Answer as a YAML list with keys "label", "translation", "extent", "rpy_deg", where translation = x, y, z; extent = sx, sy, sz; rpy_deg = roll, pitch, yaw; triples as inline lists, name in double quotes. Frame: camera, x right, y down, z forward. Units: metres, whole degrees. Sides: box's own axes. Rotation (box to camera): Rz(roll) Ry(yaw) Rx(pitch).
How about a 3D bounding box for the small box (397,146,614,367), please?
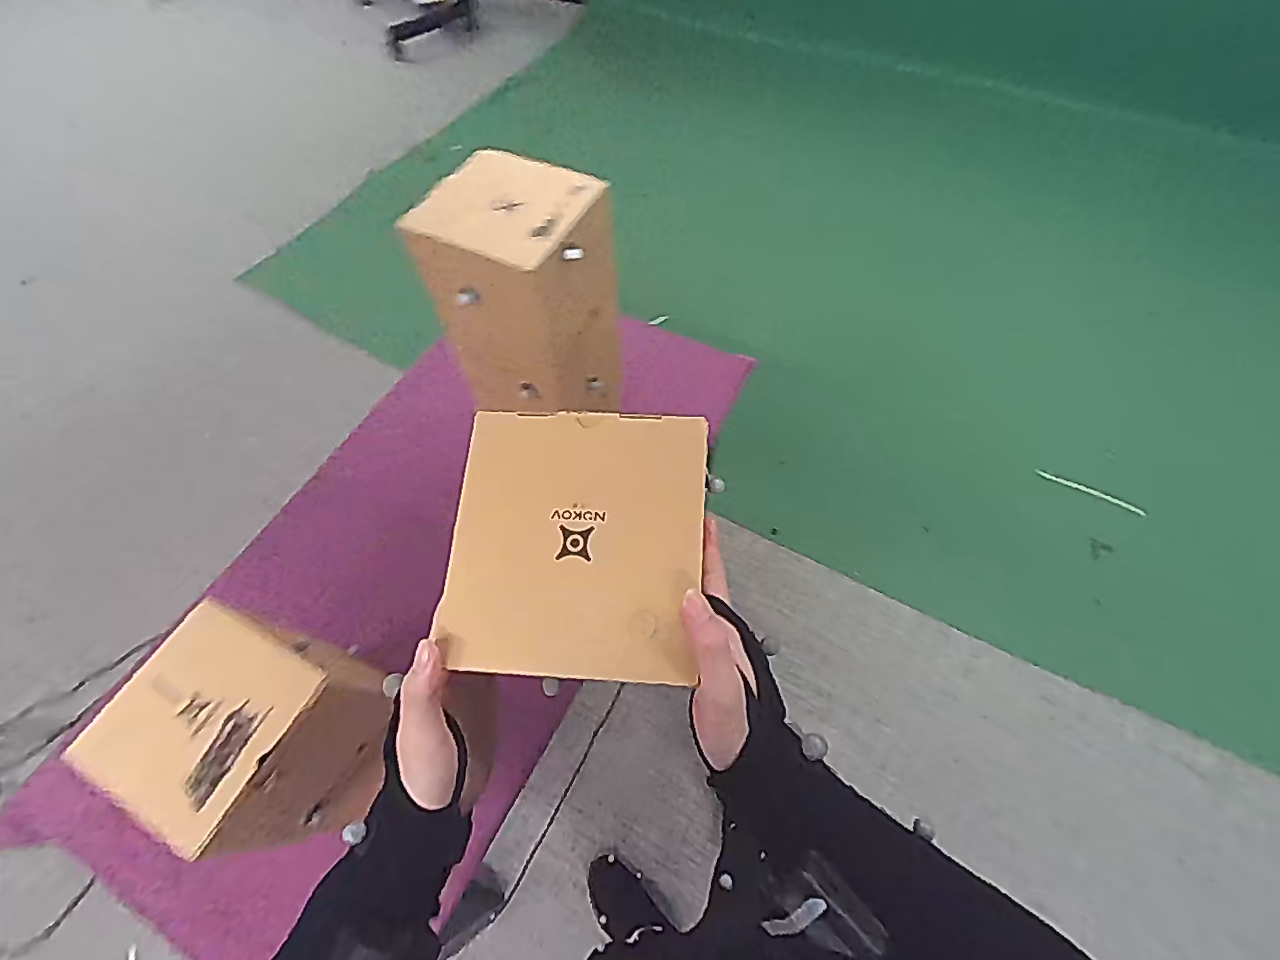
- label: "small box"
  translation: [-0.147, -0.266, 0.660]
  extent: [0.179, 0.176, 0.168]
  rpy_deg: [22, 64, 14]

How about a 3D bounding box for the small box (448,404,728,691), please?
- label: "small box"
  translation: [-0.022, 0.058, 0.417]
  extent: [0.168, 0.176, 0.179]
  rpy_deg: [3, 71, 6]

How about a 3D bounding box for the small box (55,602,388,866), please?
- label: "small box"
  translation: [-0.404, 0.255, 0.560]
  extent: [0.179, 0.176, 0.168]
  rpy_deg: [23, 64, 15]

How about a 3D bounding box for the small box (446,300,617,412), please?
- label: "small box"
  translation: [-0.145, -0.183, 0.802]
  extent: [0.179, 0.176, 0.168]
  rpy_deg: [24, 63, 15]

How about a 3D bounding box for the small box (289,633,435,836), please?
- label: "small box"
  translation: [-0.408, 0.331, 0.706]
  extent: [0.179, 0.176, 0.168]
  rpy_deg: [24, 64, 14]
